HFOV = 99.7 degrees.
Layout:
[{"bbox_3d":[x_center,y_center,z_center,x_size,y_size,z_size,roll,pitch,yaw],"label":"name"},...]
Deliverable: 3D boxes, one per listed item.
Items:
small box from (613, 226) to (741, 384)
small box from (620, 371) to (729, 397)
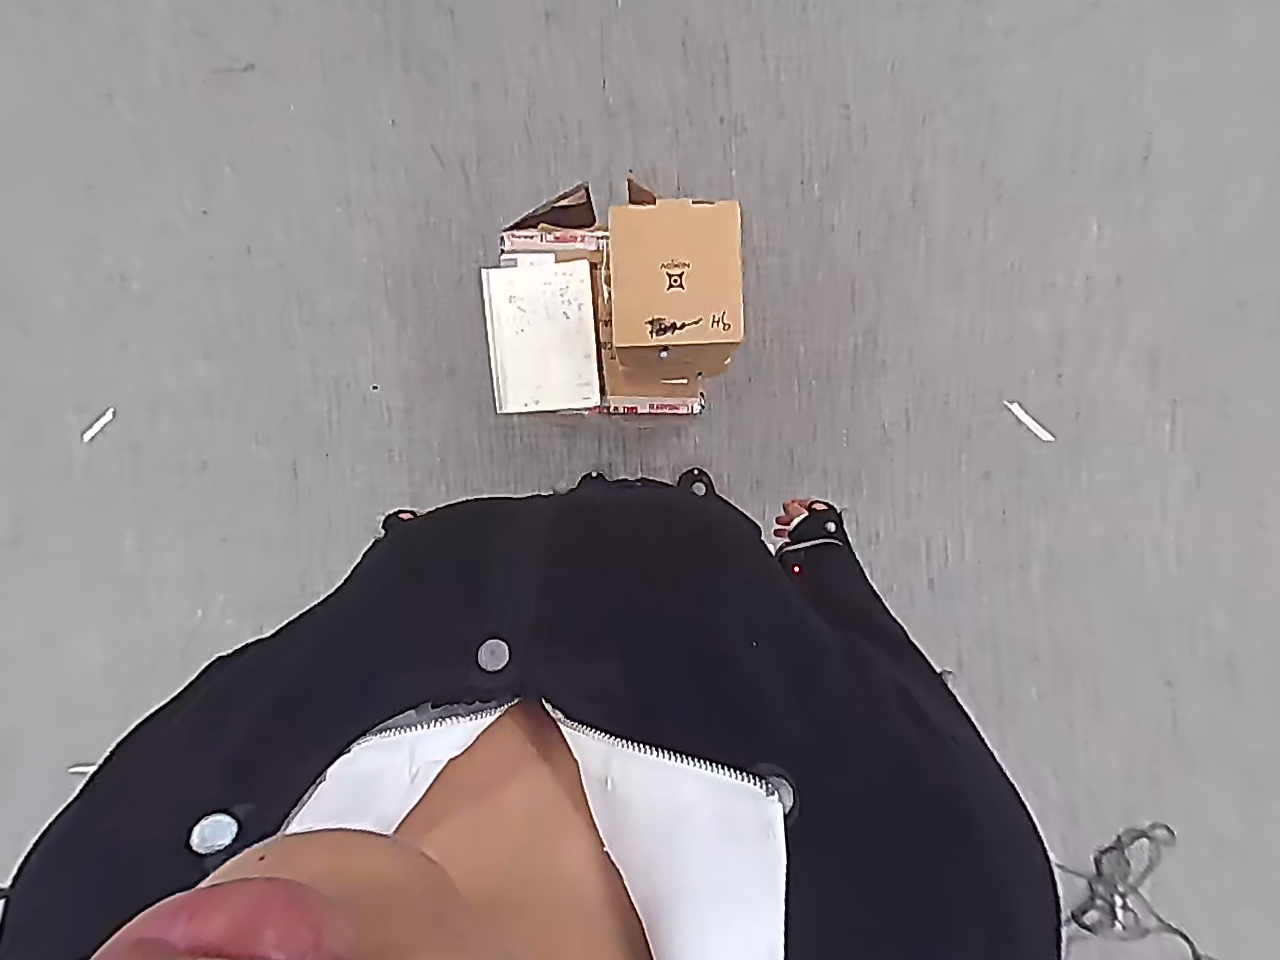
[{"bbox_3d":[0.046,-0.239,0.772,0.168,0.176,0.179,-2,92,0],"label":"small box"},{"bbox_3d":[0.051,-0.238,0.936,0.179,0.176,0.168,-4,92,2],"label":"small box"}]
